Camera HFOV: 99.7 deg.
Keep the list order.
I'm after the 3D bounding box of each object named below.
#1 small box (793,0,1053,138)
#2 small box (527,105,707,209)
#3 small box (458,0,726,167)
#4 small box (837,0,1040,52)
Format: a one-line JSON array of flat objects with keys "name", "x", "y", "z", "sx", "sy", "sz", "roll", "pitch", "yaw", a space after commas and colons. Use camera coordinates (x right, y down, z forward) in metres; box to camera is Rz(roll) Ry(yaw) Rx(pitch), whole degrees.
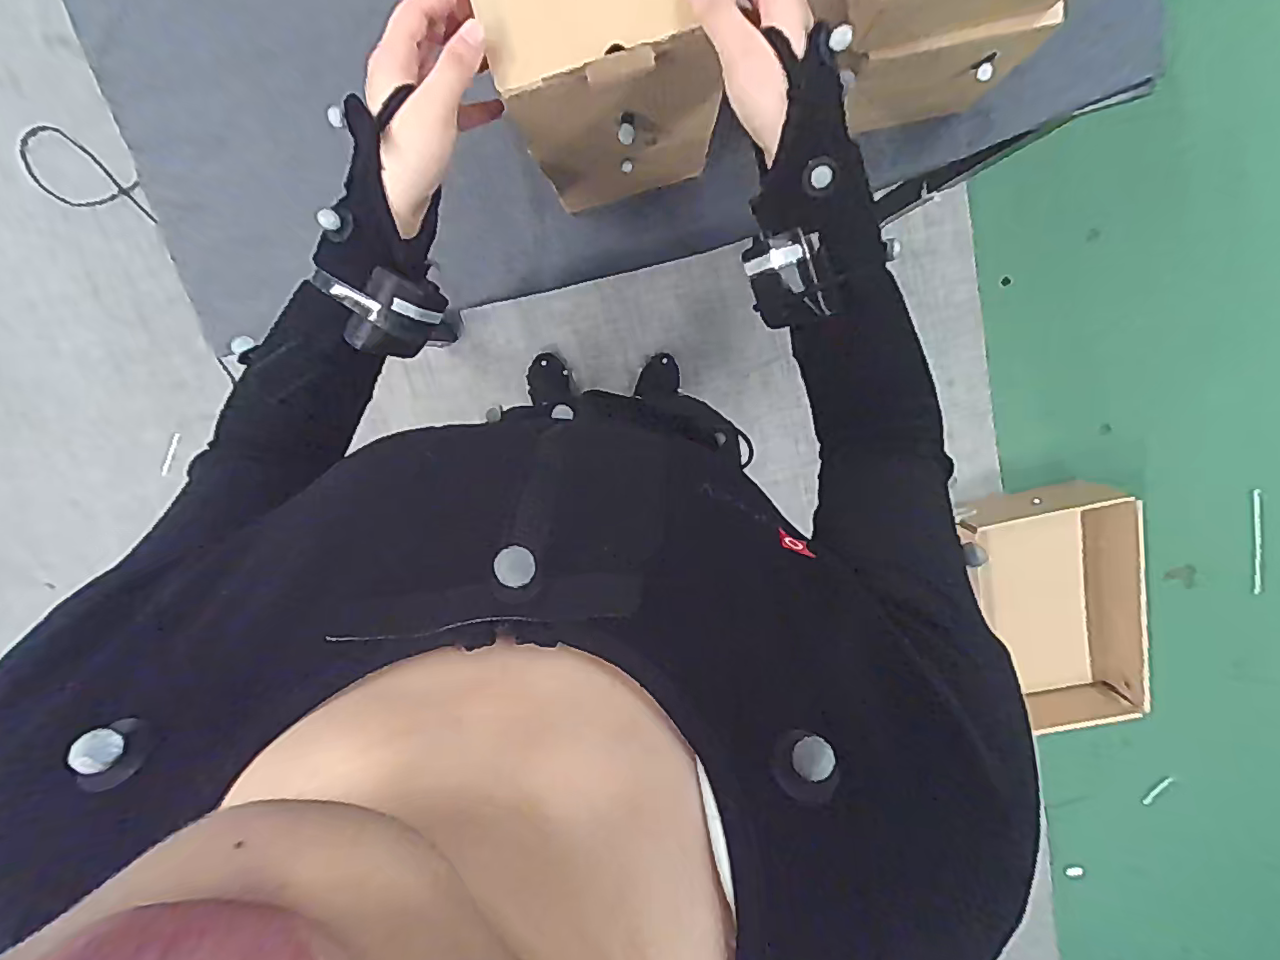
[{"name": "small box", "x": 0.268, "y": -0.477, "z": 0.543, "sx": 0.179, "sy": 0.176, "sz": 0.168, "roll": -9, "pitch": 101, "yaw": 4}, {"name": "small box", "x": -0.039, "y": -0.409, "z": 0.567, "sx": 0.179, "sy": 0.176, "sz": 0.168, "roll": -15, "pitch": 102, "yaw": 3}, {"name": "small box", "x": -0.040, "y": -0.364, "z": 0.409, "sx": 0.168, "sy": 0.176, "sz": 0.179, "roll": -14, "pitch": 102, "yaw": 4}, {"name": "small box", "x": 0.249, "y": -0.453, "z": 0.381, "sx": 0.179, "sy": 0.176, "sz": 0.168, "roll": -10, "pitch": 101, "yaw": 5}]
